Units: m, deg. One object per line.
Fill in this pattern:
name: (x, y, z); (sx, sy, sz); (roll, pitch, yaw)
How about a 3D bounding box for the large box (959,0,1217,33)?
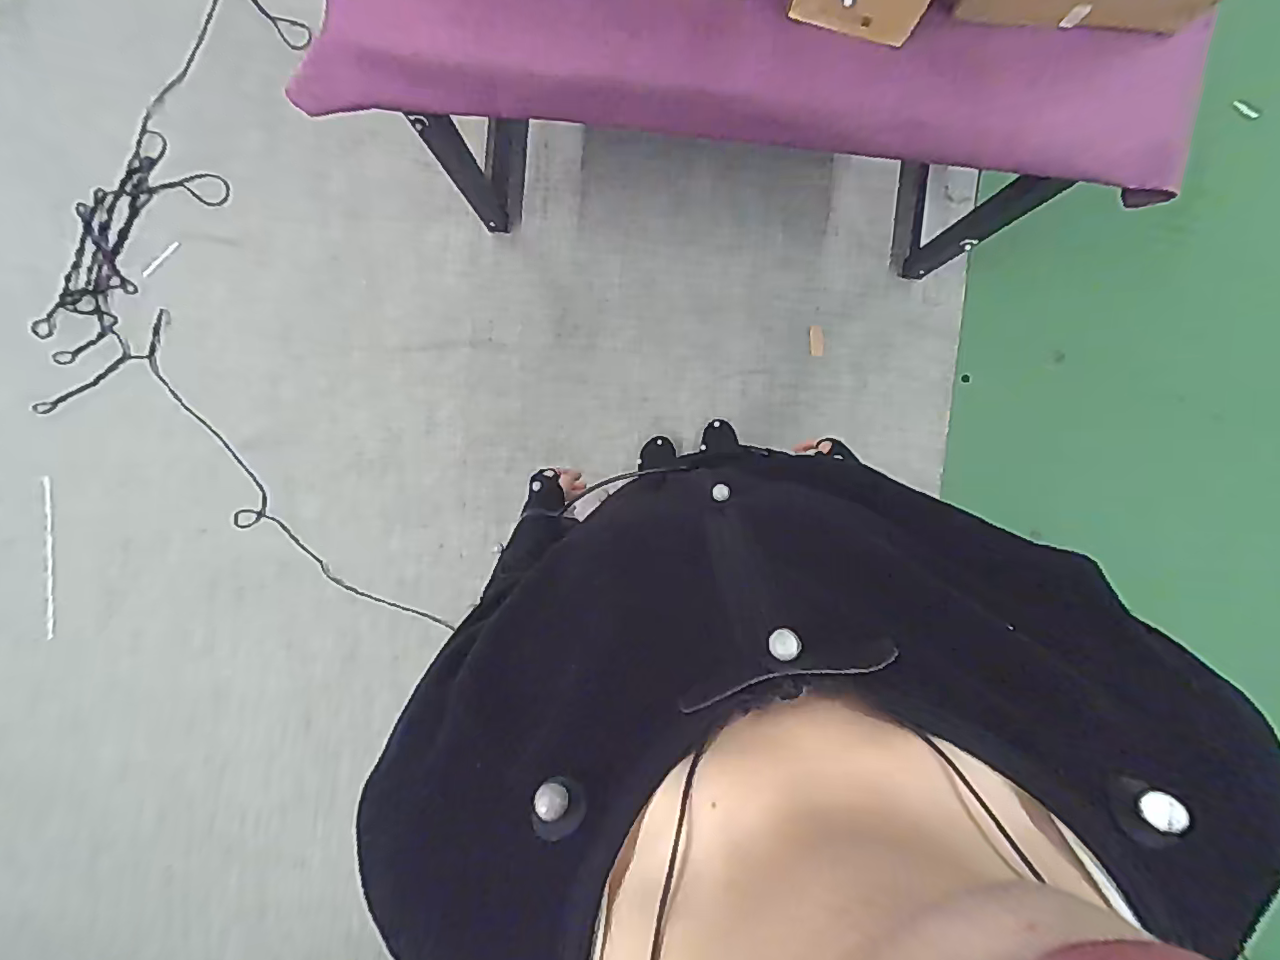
large box: (0.595, -0.806, 0.576); (0.320, 0.320, 0.408); (5, 94, 3)
